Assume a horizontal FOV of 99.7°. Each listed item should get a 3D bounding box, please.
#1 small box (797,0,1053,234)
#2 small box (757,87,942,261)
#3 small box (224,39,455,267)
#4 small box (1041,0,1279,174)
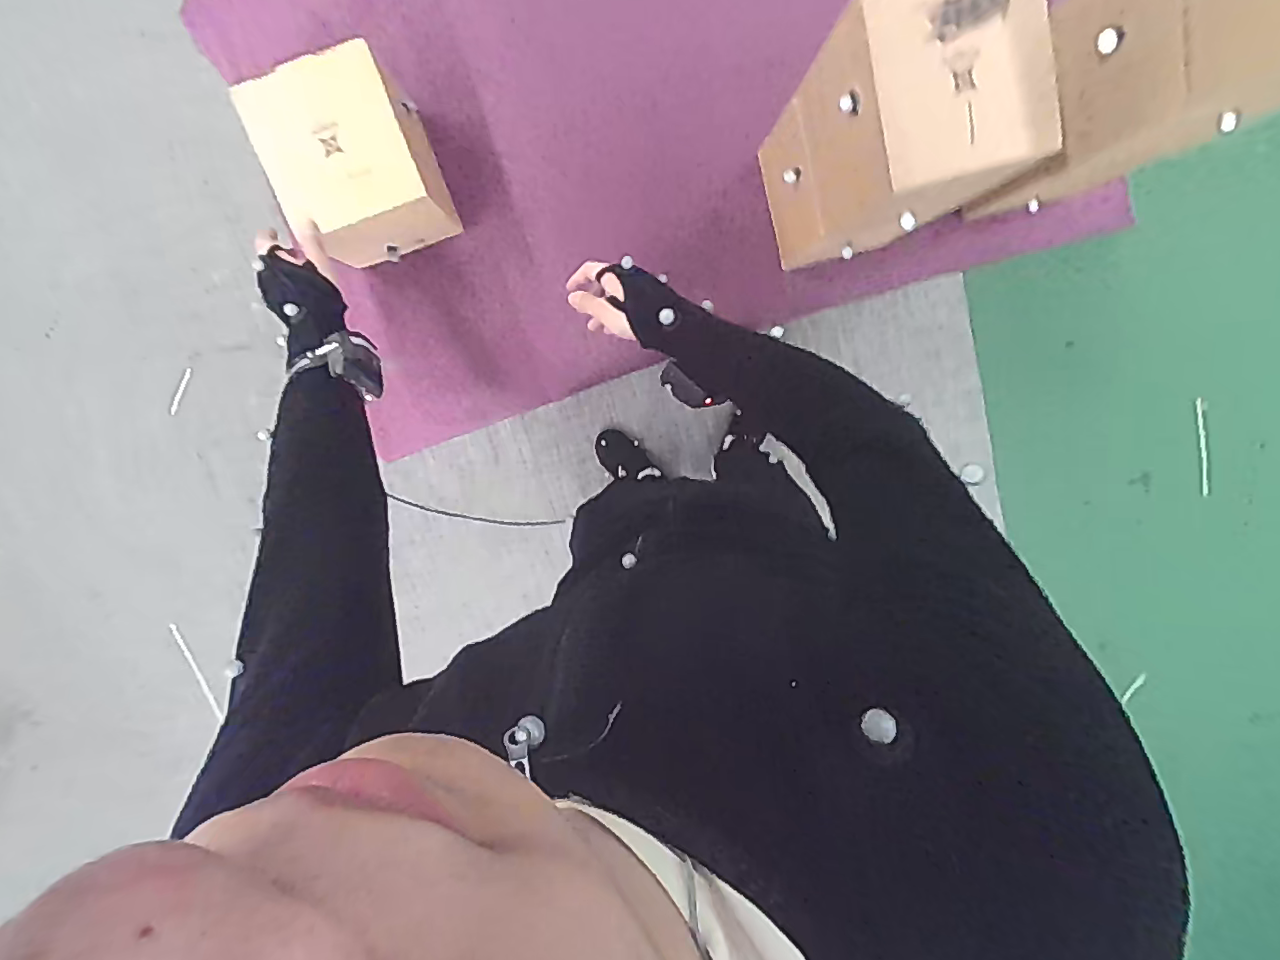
[{"bbox_3d":[0.280,-0.386,0.565,0.168,0.176,0.179,-15,100,0],"label":"small box"},{"bbox_3d":[0.271,-0.411,0.727,0.168,0.176,0.179,-16,99,0],"label":"small box"},{"bbox_3d":[-0.364,-0.399,0.694,0.168,0.176,0.179,-20,102,1],"label":"small box"},{"bbox_3d":[0.553,-0.457,0.563,0.168,0.176,0.179,-13,100,1],"label":"small box"}]
